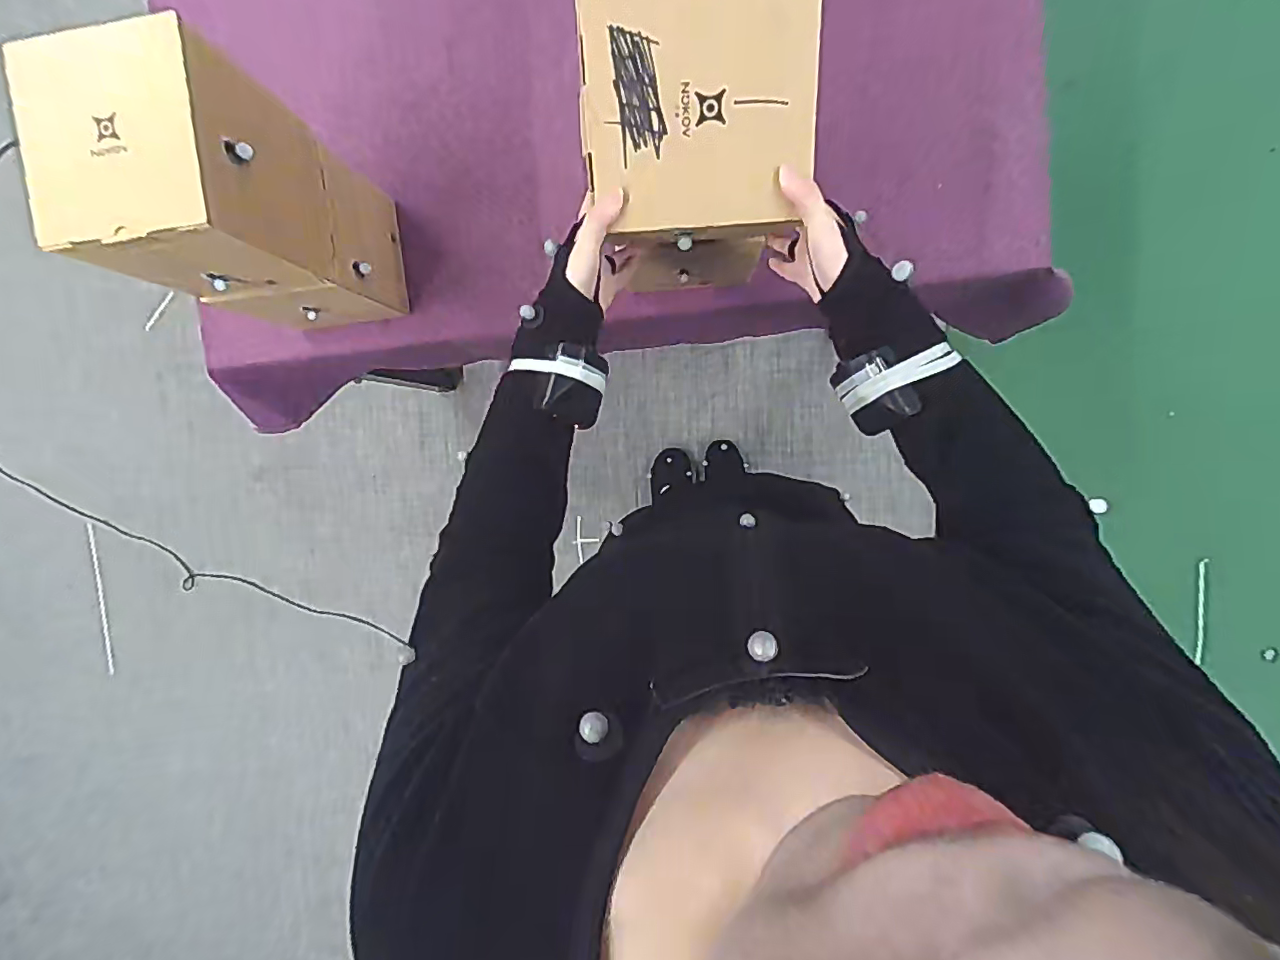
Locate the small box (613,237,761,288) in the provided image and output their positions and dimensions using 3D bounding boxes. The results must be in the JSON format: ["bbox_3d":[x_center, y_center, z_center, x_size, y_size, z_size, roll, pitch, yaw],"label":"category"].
[{"bbox_3d":[0.055,-0.343,0.664,0.168,0.176,0.179,-2,95,4],"label":"small box"}]

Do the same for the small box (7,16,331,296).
[{"bbox_3d":[-0.445,-0.301,0.540,0.168,0.176,0.179,-5,95,5],"label":"small box"}]

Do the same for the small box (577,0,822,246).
[{"bbox_3d":[0.050,-0.305,0.483,0.179,0.176,0.168,-2,112,4],"label":"small box"}]
